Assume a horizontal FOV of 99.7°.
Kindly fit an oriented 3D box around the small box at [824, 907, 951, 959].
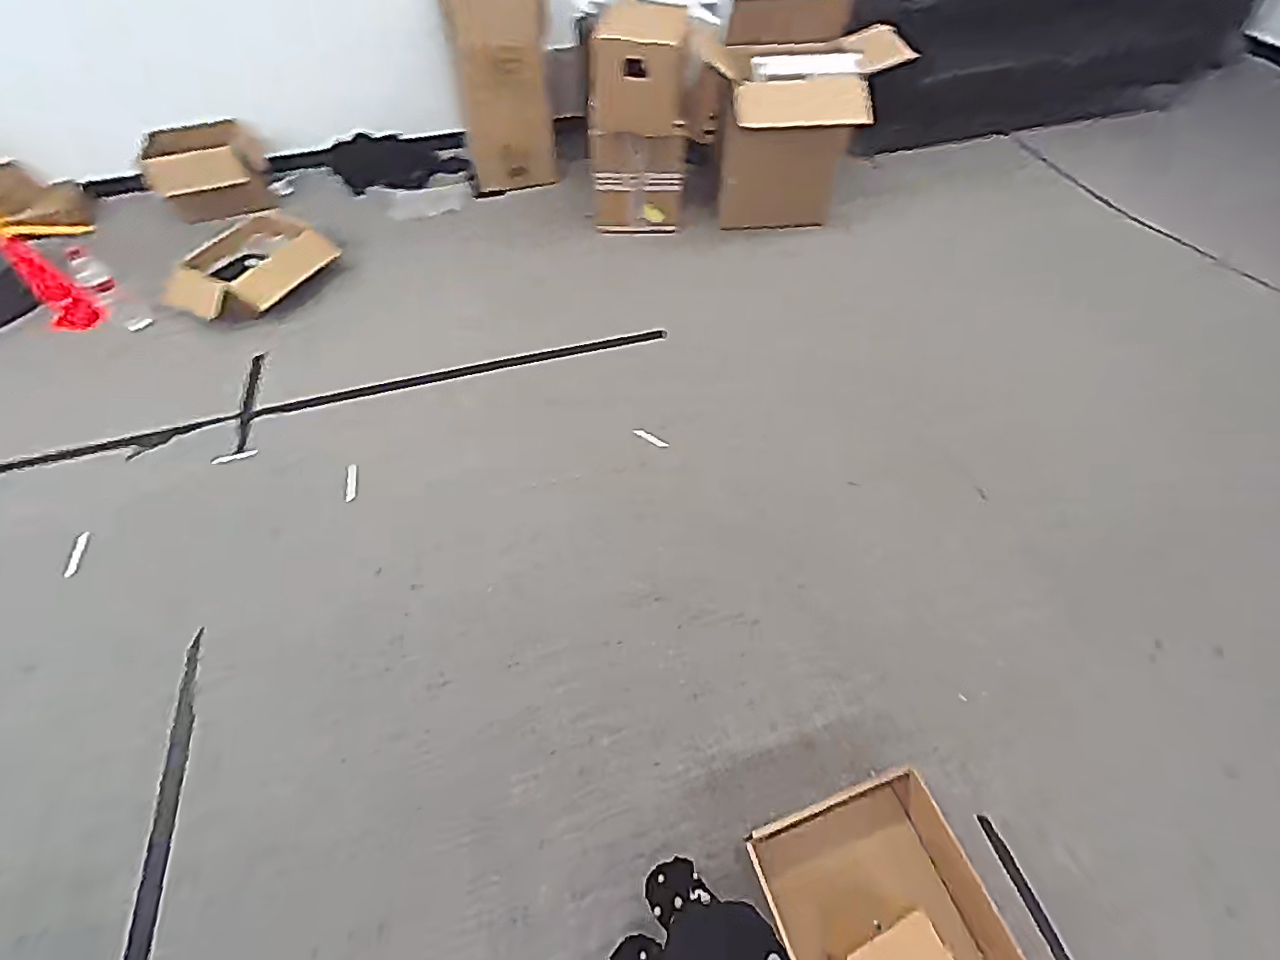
[{"bbox_3d":[0.472,0.924,0.997,0.179,0.176,0.168,-21,56,-13],"label":"small box"}]
